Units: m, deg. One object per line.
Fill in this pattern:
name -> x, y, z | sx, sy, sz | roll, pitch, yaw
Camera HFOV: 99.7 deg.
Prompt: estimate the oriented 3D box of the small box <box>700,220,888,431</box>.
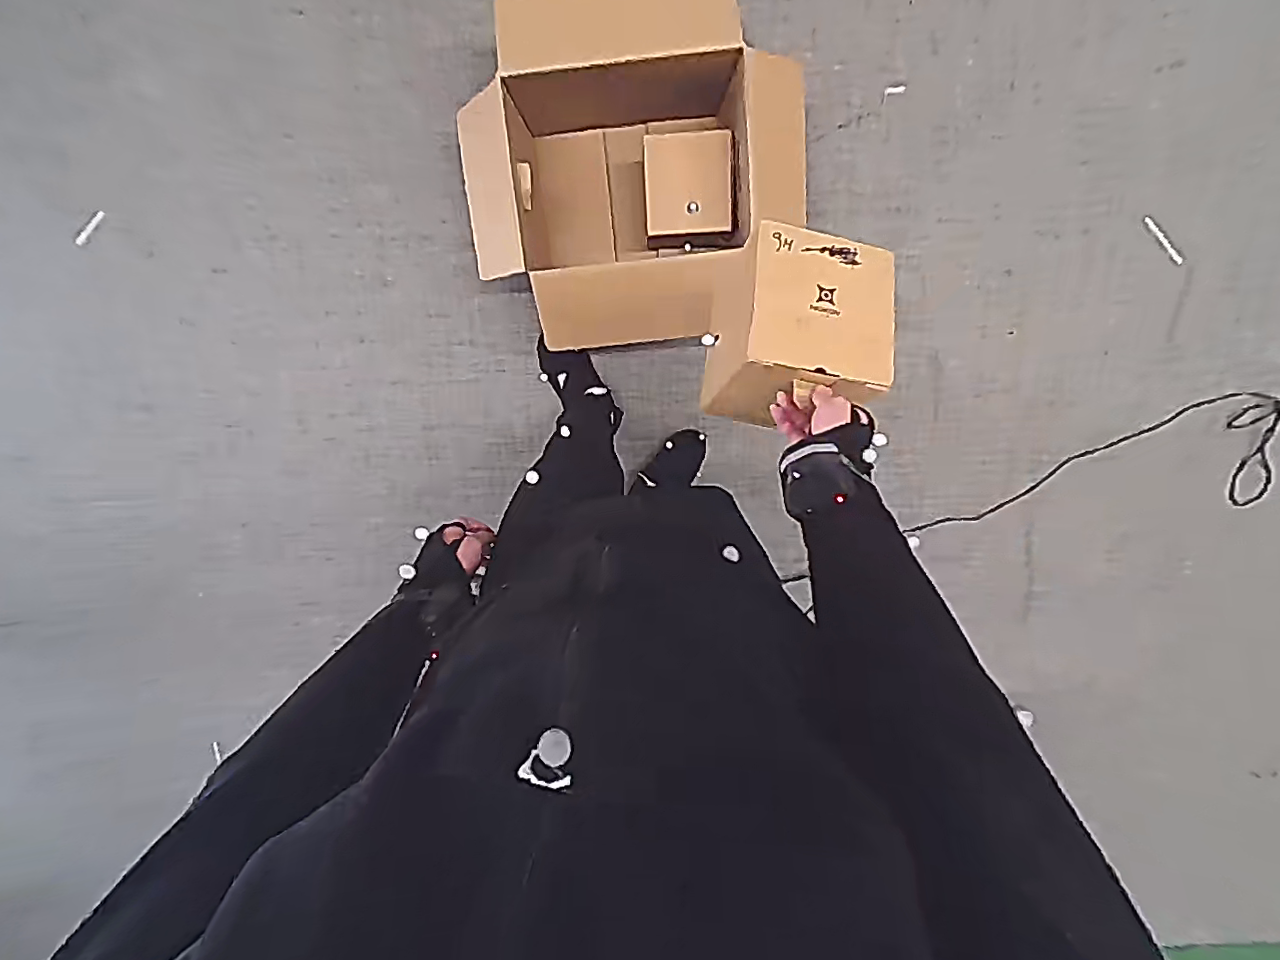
small box -> 0.179, -0.175, 0.669 | 0.168, 0.176, 0.179 | 11, 75, -8
